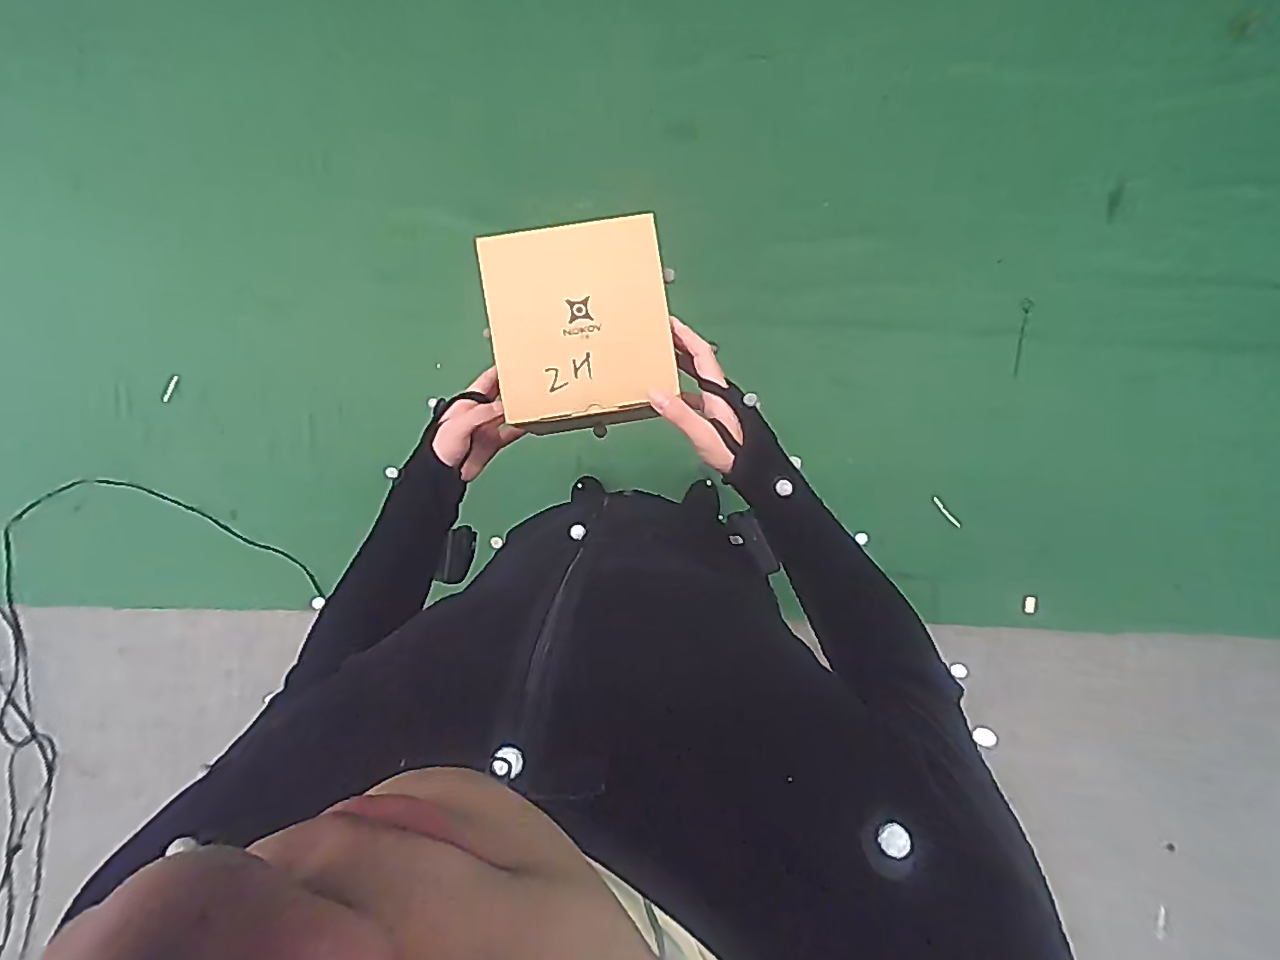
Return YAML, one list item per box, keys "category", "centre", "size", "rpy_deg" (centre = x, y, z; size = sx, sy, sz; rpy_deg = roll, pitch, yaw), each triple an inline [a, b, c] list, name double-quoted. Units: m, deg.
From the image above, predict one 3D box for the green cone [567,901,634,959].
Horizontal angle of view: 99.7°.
- category: "green cone"
  centre: [-0.127, 1.371, 1.456]
  size: [0.202, 0.368, 0.200]
  rpy_deg: [2, 91, 2]
